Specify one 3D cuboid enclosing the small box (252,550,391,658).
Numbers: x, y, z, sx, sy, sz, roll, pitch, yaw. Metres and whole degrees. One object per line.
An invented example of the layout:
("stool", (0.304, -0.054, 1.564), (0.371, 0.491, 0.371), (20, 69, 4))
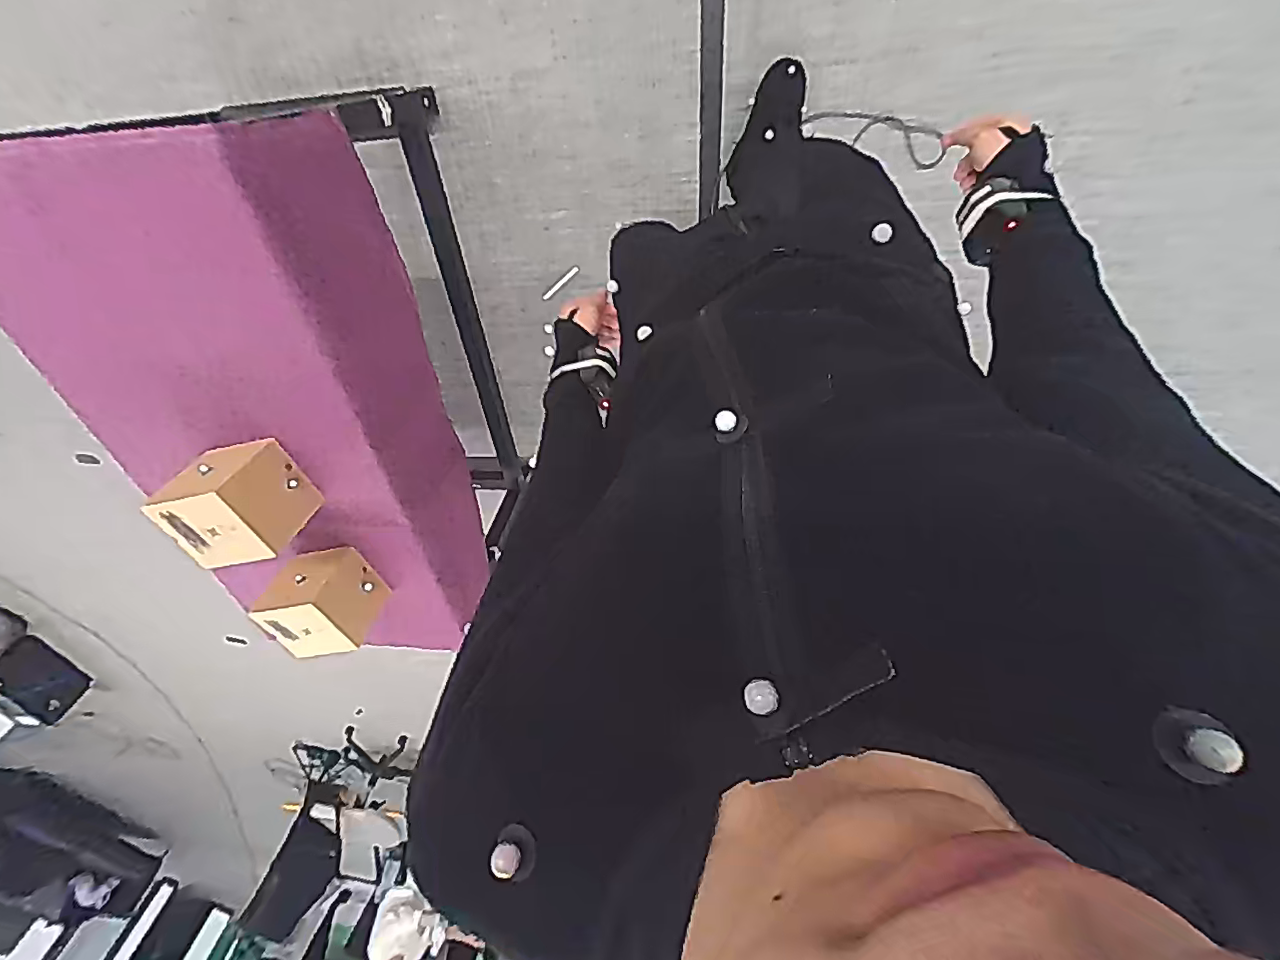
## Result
("small box", (-0.711, 0.281, 1.229), (0.179, 0.176, 0.168), (-11, 127, 16))
